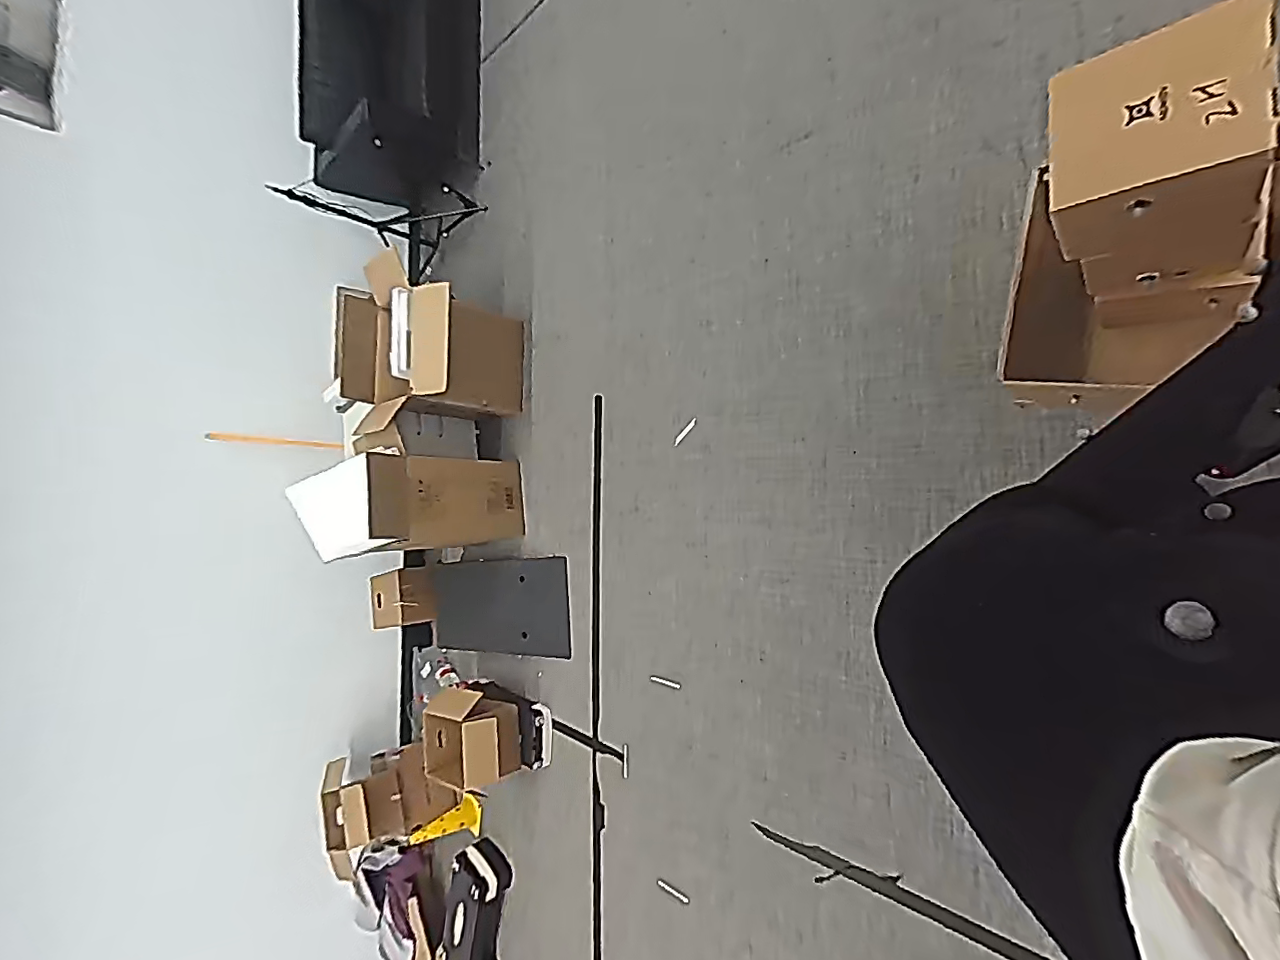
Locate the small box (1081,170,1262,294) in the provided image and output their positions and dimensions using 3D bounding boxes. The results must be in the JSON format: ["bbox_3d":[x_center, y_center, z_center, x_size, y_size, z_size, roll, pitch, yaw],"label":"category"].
[{"bbox_3d":[0.715,-0.380,0.740,0.168,0.176,0.179,-1,87,44],"label":"small box"}]

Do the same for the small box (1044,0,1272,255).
[{"bbox_3d":[0.594,-0.388,0.630,0.179,0.176,0.168,0,88,44],"label":"small box"}]
